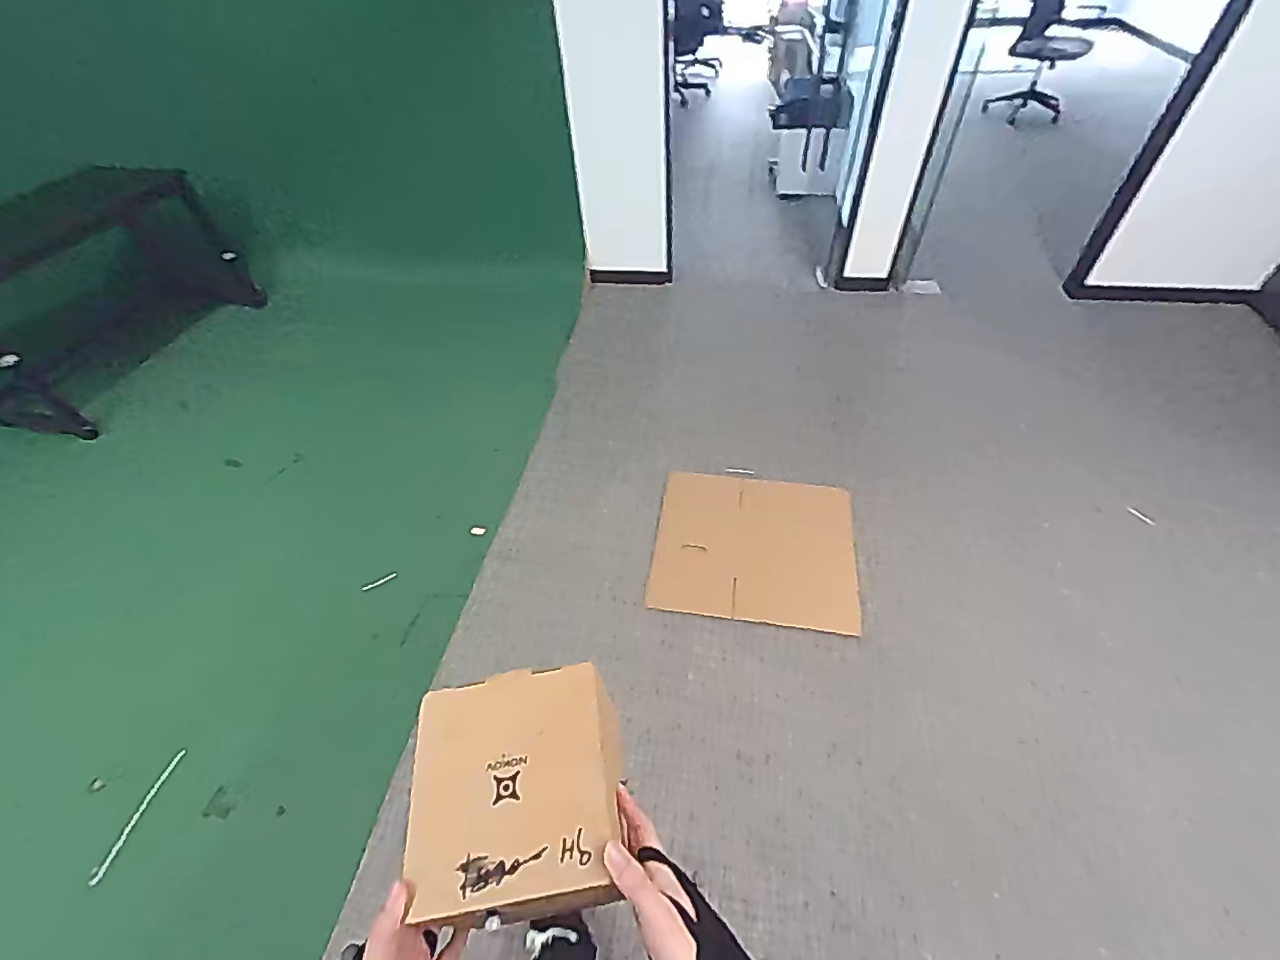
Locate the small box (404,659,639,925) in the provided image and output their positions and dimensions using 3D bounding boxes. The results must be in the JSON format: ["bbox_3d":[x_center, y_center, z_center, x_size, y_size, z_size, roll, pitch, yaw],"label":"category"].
[{"bbox_3d":[-0.098,0.299,0.517,0.168,0.176,0.179,-10,48,0],"label":"small box"}]
